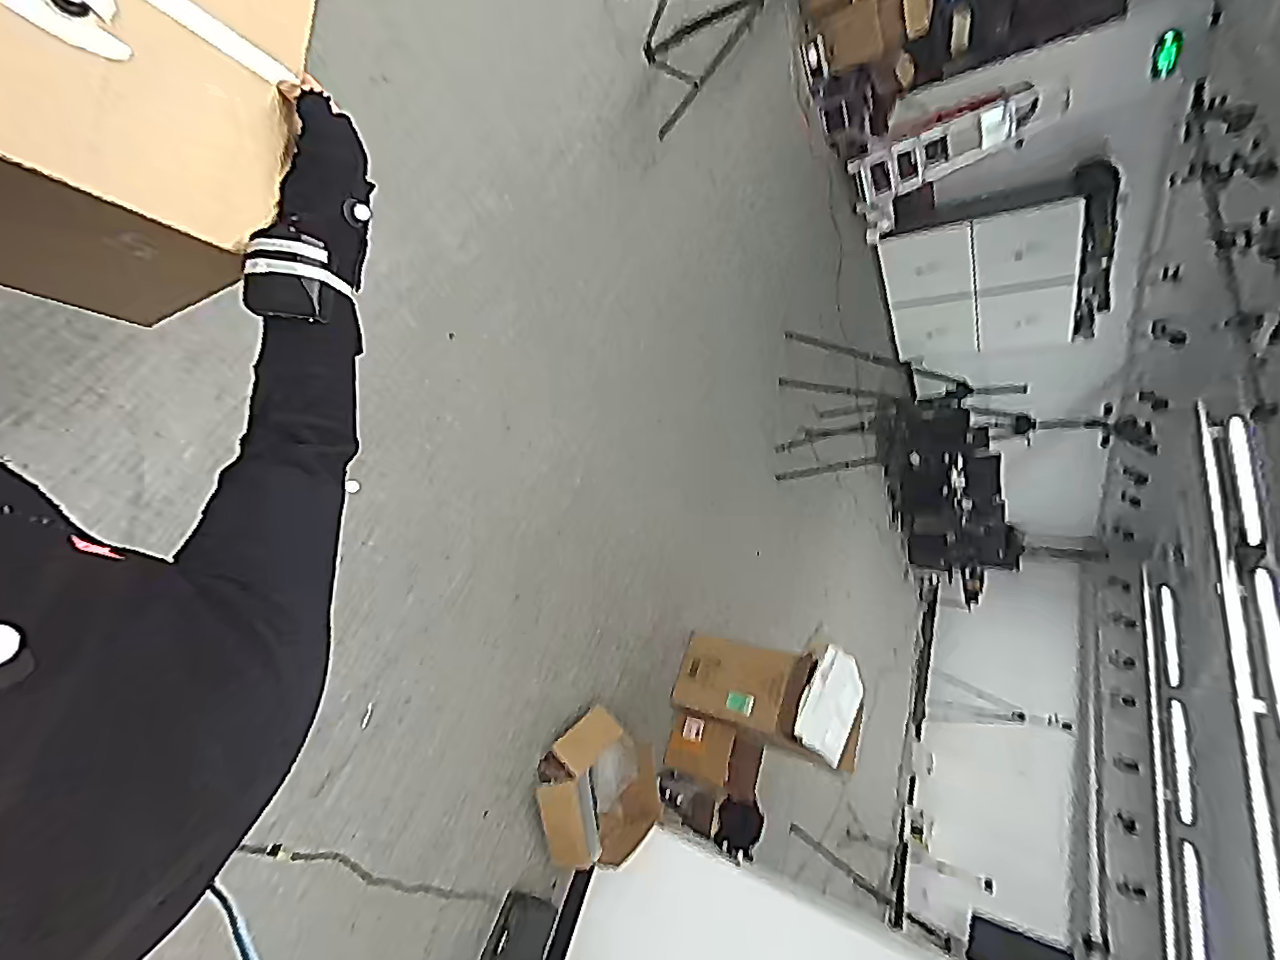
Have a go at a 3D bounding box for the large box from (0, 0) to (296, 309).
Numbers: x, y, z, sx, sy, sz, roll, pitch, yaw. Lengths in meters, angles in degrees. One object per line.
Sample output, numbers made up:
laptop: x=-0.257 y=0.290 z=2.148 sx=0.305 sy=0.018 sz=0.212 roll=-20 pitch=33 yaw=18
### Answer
large box: x=-0.543 y=-0.365 z=0.388 sx=0.408 sy=0.320 sz=0.320 roll=12 pitch=80 yaw=-56
